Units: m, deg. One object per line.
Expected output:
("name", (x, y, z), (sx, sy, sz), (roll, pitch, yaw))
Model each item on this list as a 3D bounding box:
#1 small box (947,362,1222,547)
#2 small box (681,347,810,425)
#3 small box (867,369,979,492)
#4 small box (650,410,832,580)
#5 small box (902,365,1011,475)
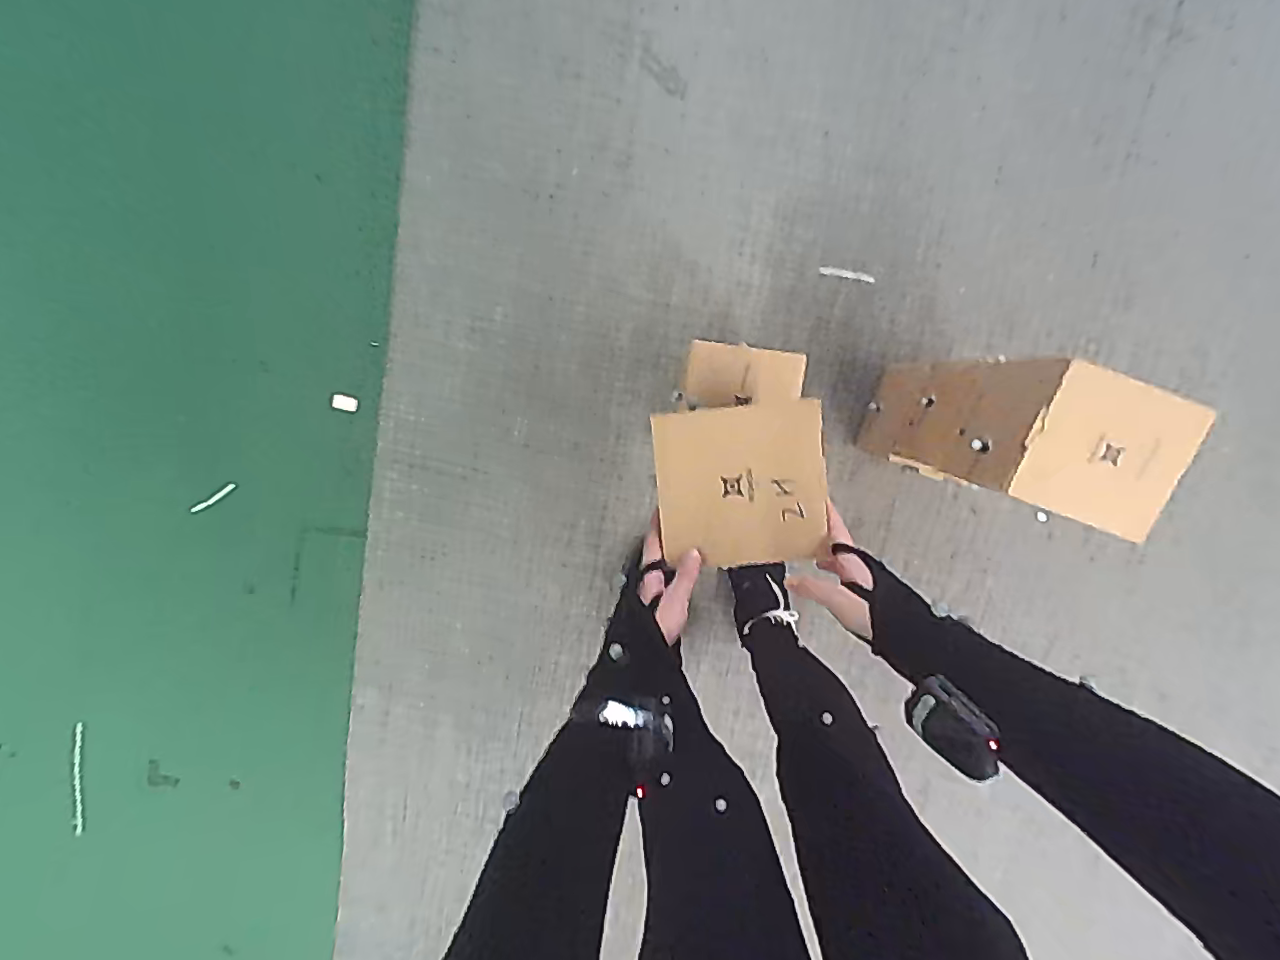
("small box", (0.534, -0.039, 0.684), (0.179, 0.176, 0.168), (20, 101, -1))
("small box", (0.154, -0.106, 0.856), (0.168, 0.176, 0.179), (7, 99, 1))
("small box", (0.546, -0.099, 1.003), (0.168, 0.176, 0.179), (17, 102, -1))
("small box", (0.113, 0.011, 0.636), (0.179, 0.176, 0.168), (-6, 95, 7))
("small box", (0.549, -0.076, 0.842), (0.179, 0.176, 0.168), (16, 100, 1))
